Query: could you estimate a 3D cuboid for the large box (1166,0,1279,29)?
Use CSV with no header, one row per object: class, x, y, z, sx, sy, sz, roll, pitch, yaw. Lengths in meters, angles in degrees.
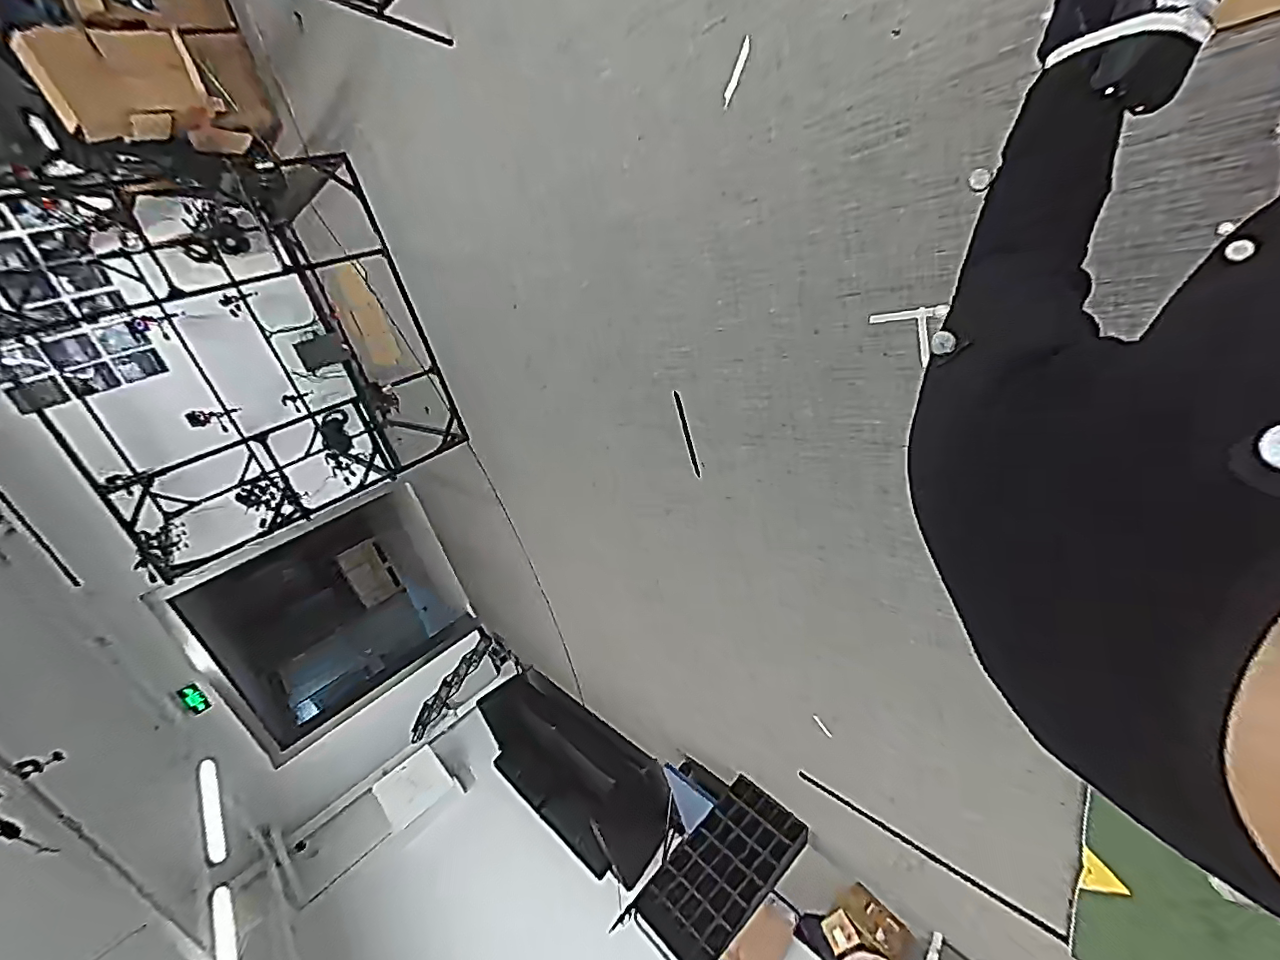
large box,0.585,-0.515,0.284,0.408,0.320,0.320,11,127,47
